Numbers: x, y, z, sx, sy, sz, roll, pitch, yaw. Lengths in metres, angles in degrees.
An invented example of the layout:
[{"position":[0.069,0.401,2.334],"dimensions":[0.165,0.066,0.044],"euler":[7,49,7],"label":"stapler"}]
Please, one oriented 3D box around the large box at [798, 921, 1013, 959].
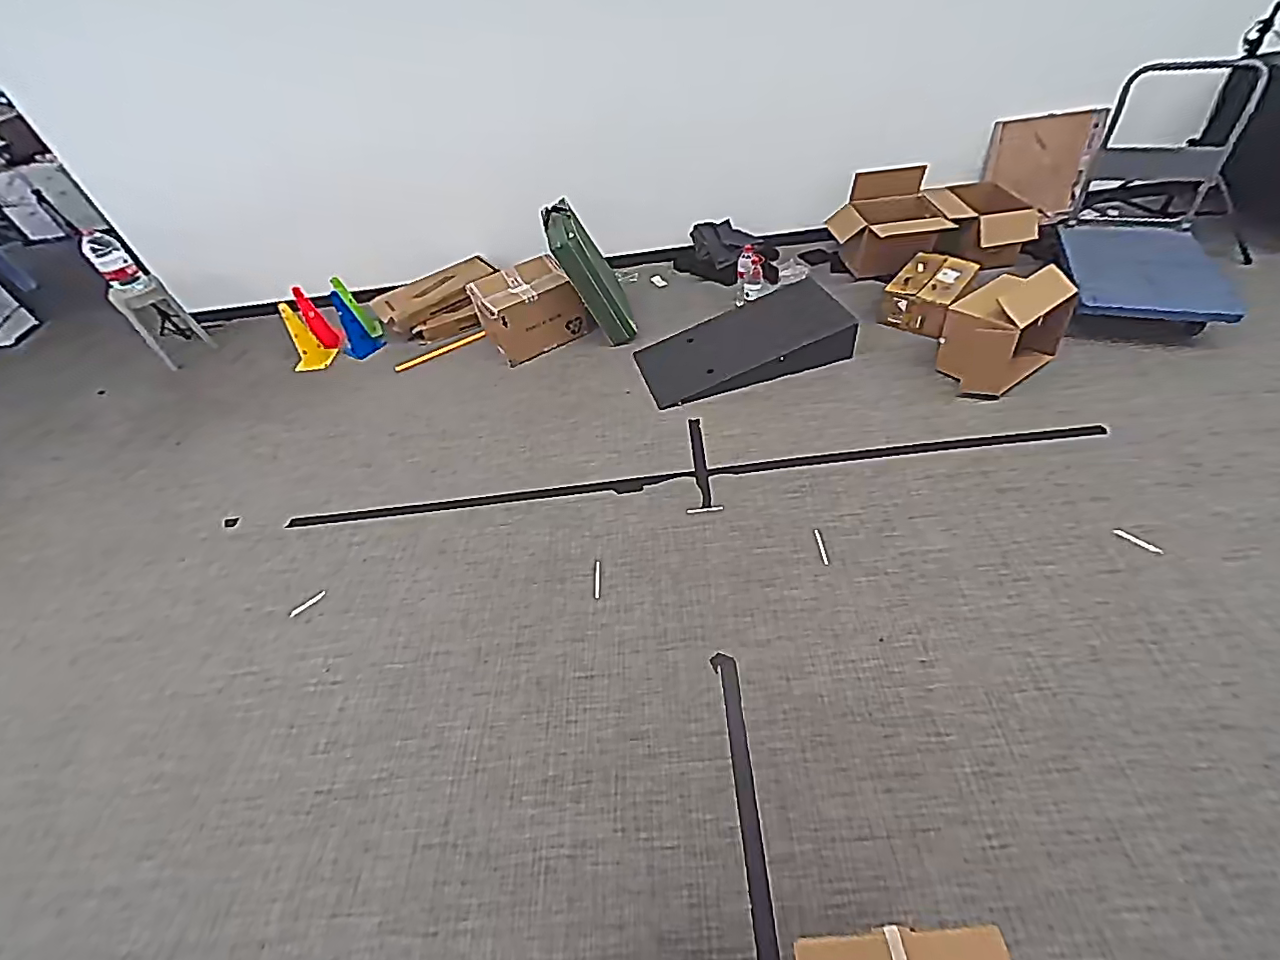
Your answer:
[{"position":[0.444,0.947,0.822],"dimensions":[0.320,0.320,0.408],"euler":[-11,48,8],"label":"large box"}]
